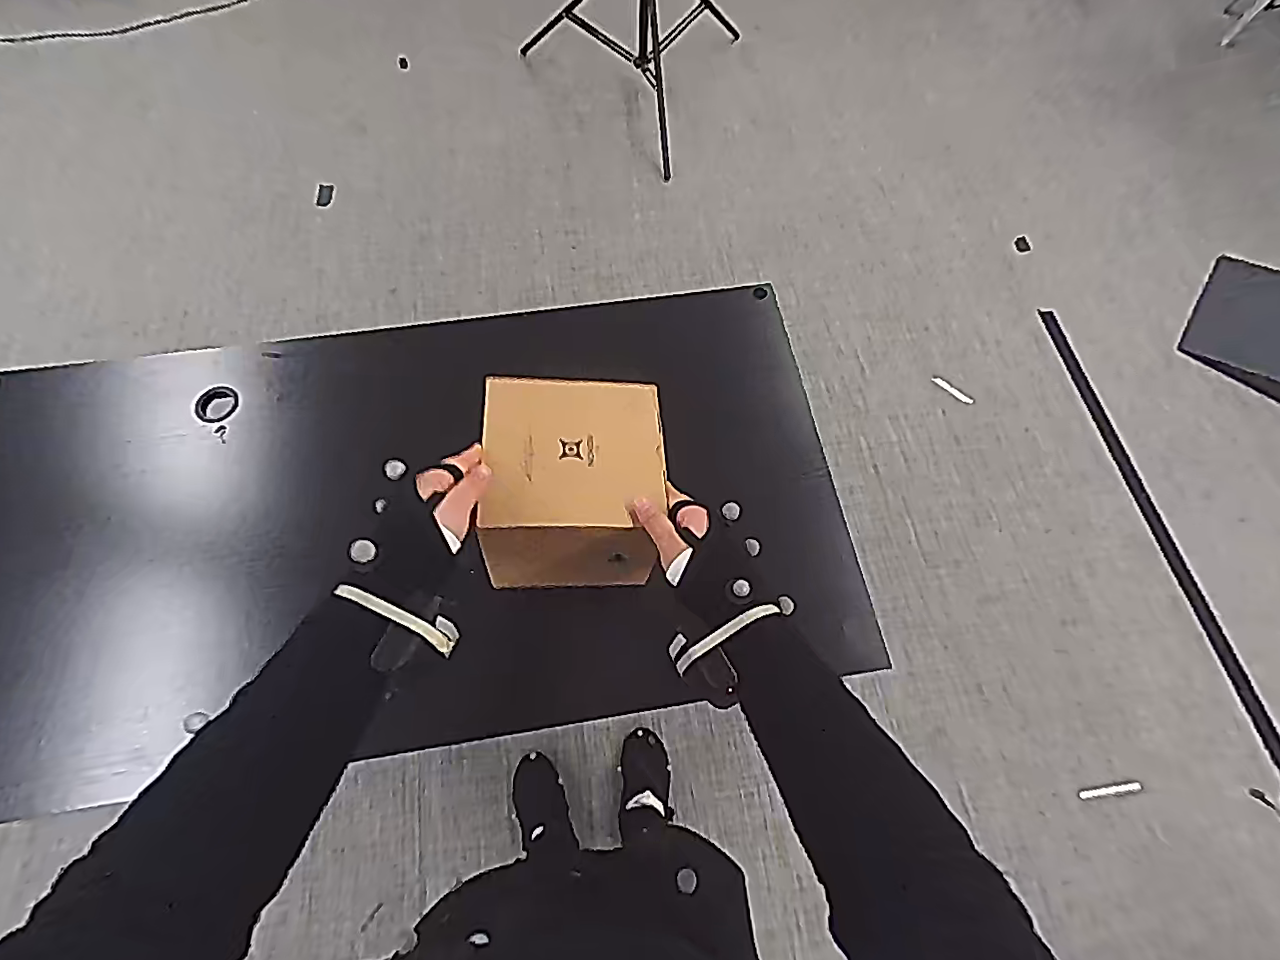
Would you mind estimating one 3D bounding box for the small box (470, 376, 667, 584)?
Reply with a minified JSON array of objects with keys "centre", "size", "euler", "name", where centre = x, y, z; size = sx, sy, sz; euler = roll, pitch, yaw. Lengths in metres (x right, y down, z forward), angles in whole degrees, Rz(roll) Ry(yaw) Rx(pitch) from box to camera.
[{"centre":[-0.077,0.008,0.581],"size":[0.179,0.176,0.168],"euler":[0,62,-9],"name":"small box"}]
